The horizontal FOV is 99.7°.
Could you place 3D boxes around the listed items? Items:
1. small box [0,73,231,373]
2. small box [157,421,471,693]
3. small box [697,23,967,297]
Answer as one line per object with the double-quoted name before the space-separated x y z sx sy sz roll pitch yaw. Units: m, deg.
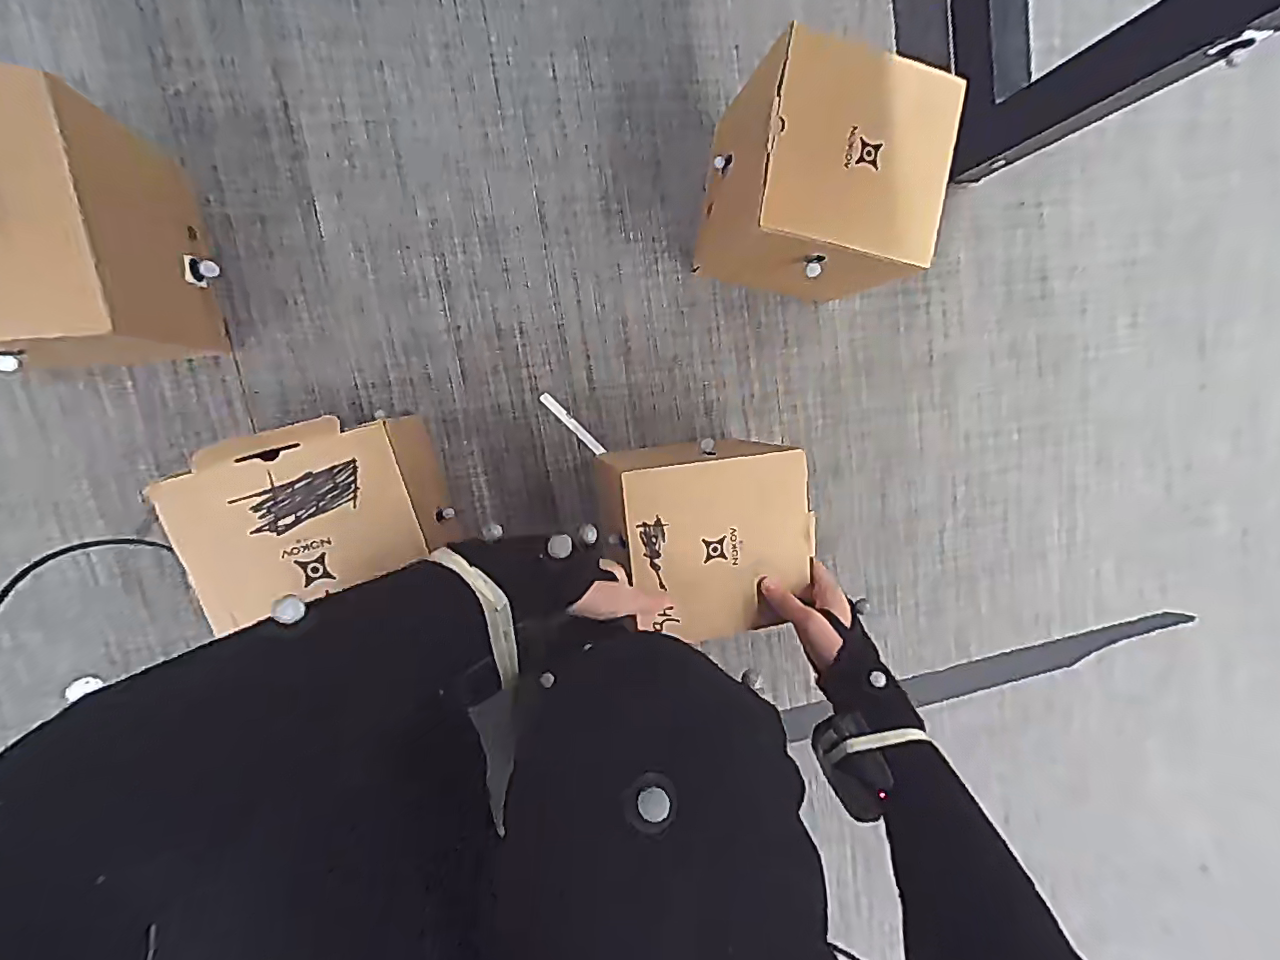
"small box" -0.463 -0.174 0.411 0.179 0.176 0.168 -8 100 -13
"small box" -0.263 0.049 0.489 0.168 0.176 0.179 -17 103 -9
"small box" 0.175 -0.291 0.541 0.179 0.176 0.168 7 96 -13
